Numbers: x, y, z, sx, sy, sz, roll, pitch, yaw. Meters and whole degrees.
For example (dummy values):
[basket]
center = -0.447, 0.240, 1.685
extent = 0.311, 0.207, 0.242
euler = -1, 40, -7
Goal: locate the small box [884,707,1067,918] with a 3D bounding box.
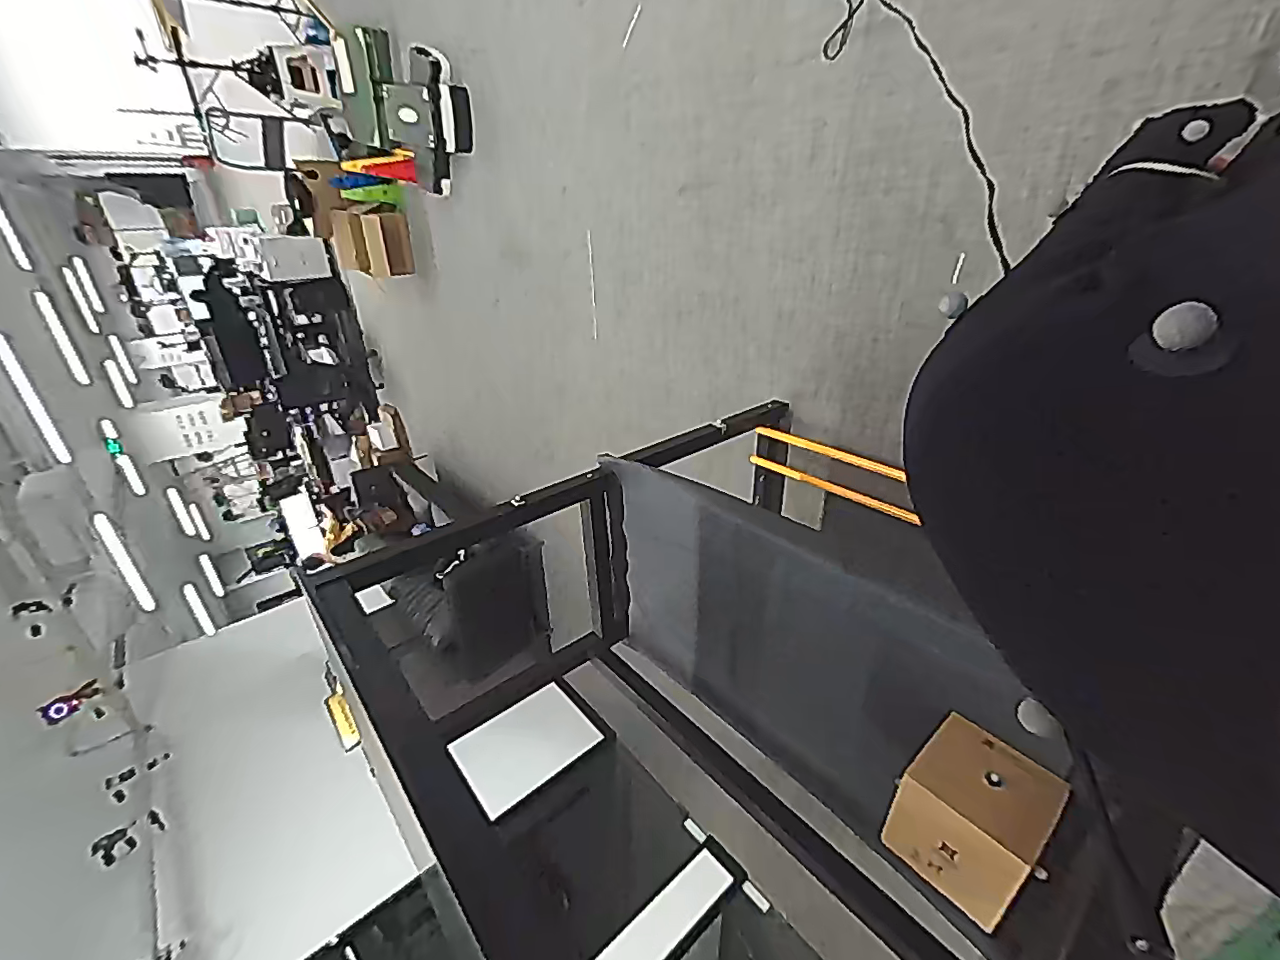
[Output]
[small box]
center = 0.504, 0.486, 0.816
extent = 0.168, 0.176, 0.179
euler = 30, 132, 42
